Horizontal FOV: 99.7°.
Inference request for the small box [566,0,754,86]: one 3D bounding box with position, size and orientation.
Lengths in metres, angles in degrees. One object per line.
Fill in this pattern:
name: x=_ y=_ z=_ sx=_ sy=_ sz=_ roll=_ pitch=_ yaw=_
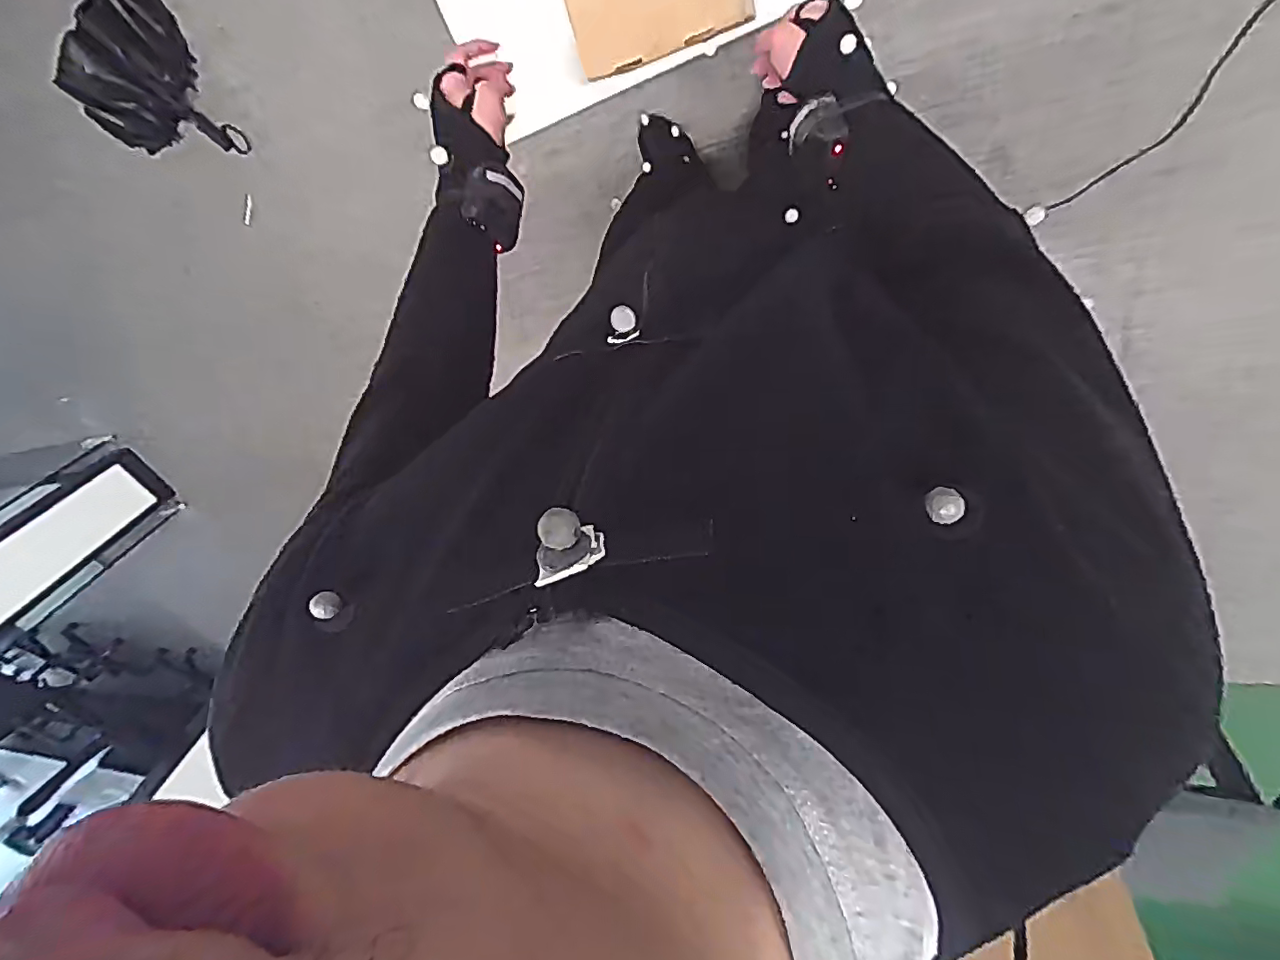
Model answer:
small box: x=0.017 y=-0.536 z=0.549 sx=0.168 sy=0.176 sz=0.179 roll=-7 pitch=126 yaw=21
